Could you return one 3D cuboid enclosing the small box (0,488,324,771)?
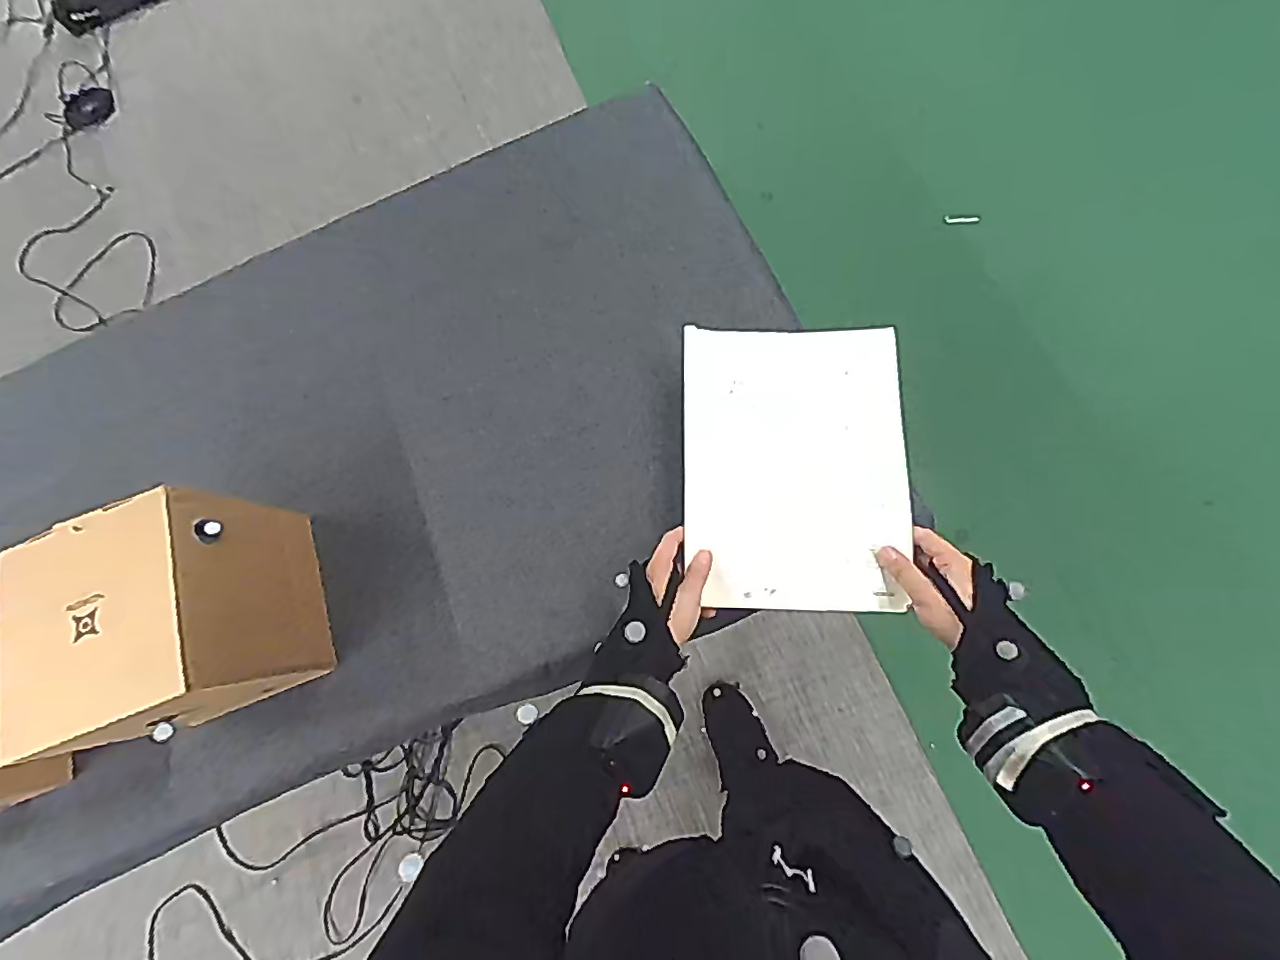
[{"bbox_3d":[-0.426,0.130,0.498,0.168,0.176,0.179,-22,73,3],"label":"small box"}]
